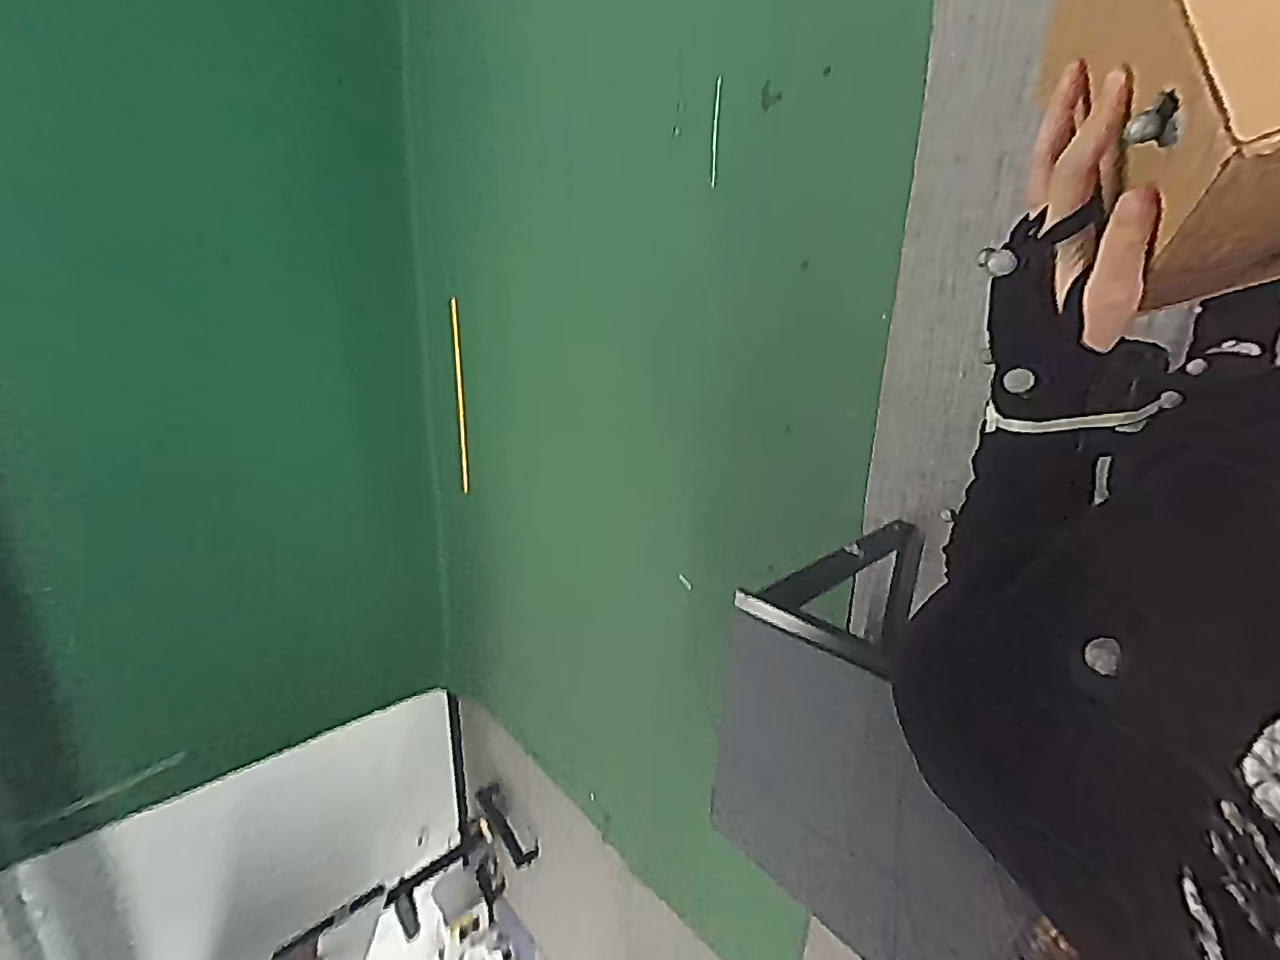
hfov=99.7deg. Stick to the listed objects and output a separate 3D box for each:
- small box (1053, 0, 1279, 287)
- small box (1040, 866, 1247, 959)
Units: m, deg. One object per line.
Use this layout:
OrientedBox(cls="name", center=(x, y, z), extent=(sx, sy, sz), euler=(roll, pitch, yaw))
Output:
OrientedBox(cls="small box", center=(0.301, -0.215, 0.225), extent=(0.168, 0.176, 0.179), euler=(-13, 78, 28))
OrientedBox(cls="small box", center=(0.552, 0.594, 0.598), extent=(0.168, 0.176, 0.179), euler=(25, 117, 42))
